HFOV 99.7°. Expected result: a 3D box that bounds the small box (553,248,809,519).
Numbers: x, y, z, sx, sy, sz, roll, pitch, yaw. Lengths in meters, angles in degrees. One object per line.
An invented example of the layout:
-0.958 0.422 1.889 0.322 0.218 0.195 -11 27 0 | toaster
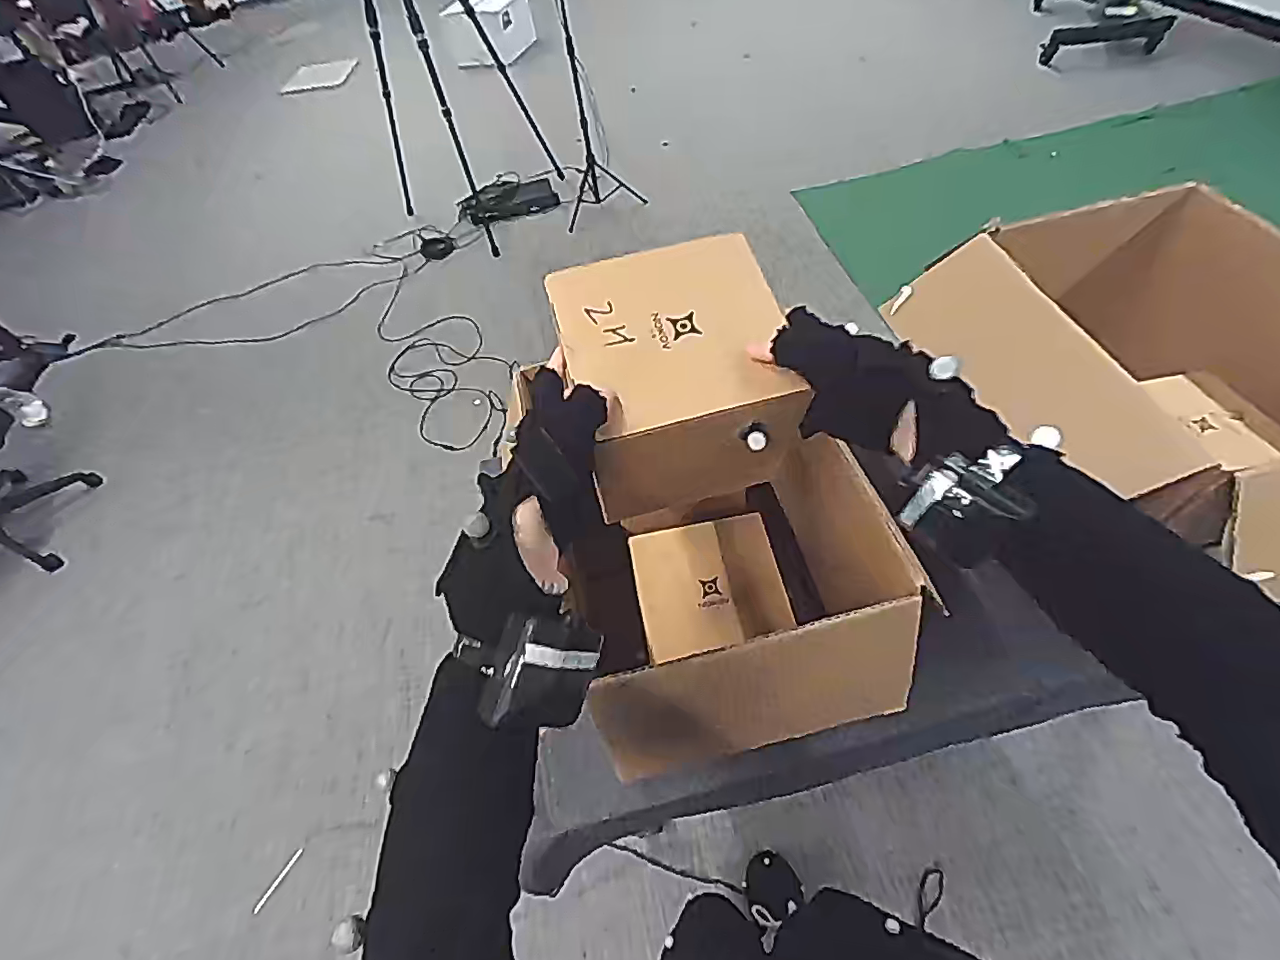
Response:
0.028 -0.081 0.509 0.179 0.176 0.168 -14 65 -6 | small box
